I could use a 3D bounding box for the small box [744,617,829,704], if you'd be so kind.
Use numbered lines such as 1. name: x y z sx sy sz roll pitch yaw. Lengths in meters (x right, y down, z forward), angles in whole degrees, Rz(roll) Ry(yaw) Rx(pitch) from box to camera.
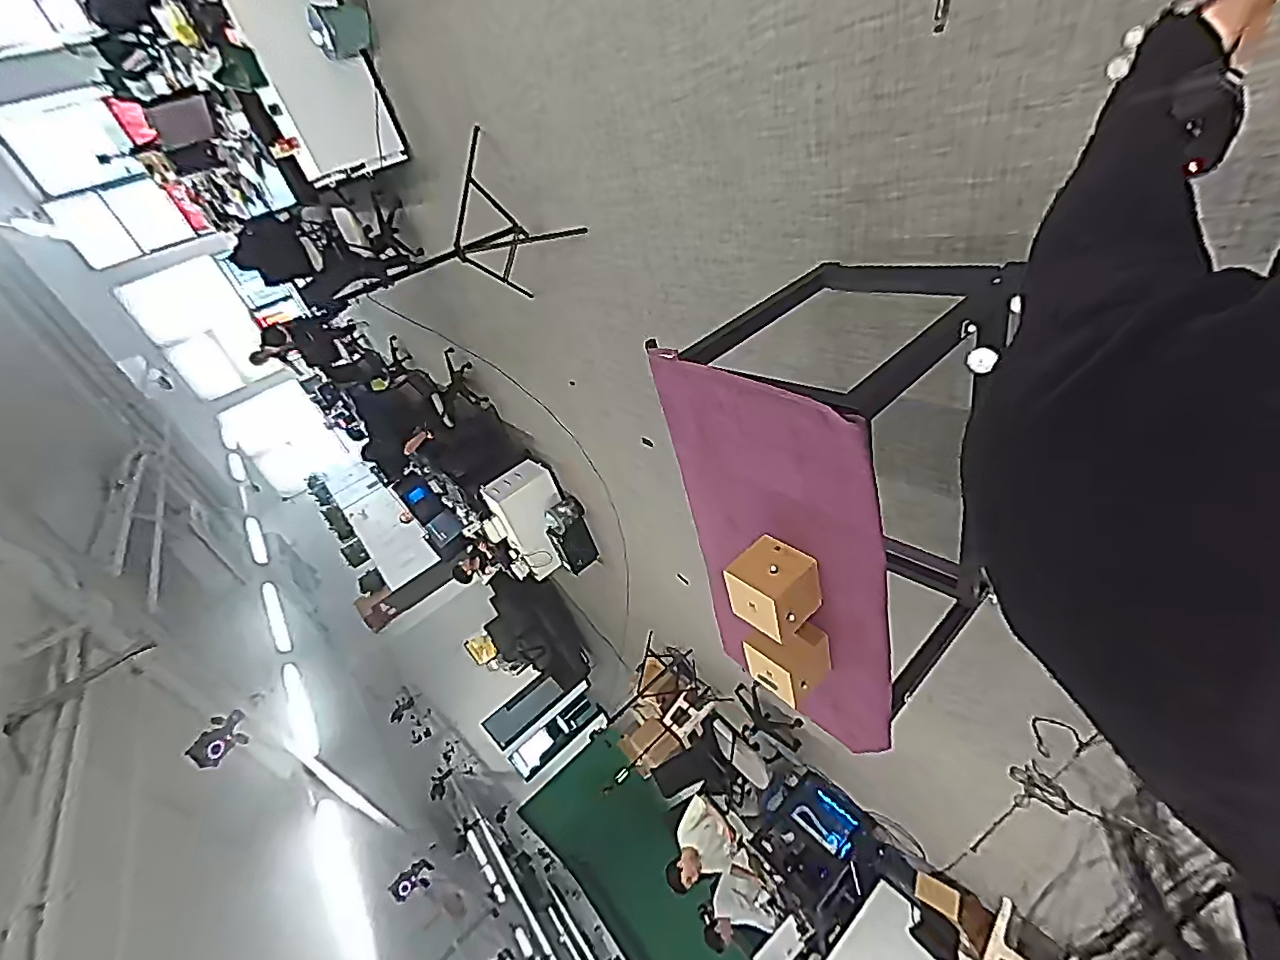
1. small box: 0.425 0.493 1.549 0.168 0.176 0.179 27 144 46

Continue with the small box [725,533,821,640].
1. small box: 0.346 0.266 1.395 0.168 0.176 0.179 28 146 46
